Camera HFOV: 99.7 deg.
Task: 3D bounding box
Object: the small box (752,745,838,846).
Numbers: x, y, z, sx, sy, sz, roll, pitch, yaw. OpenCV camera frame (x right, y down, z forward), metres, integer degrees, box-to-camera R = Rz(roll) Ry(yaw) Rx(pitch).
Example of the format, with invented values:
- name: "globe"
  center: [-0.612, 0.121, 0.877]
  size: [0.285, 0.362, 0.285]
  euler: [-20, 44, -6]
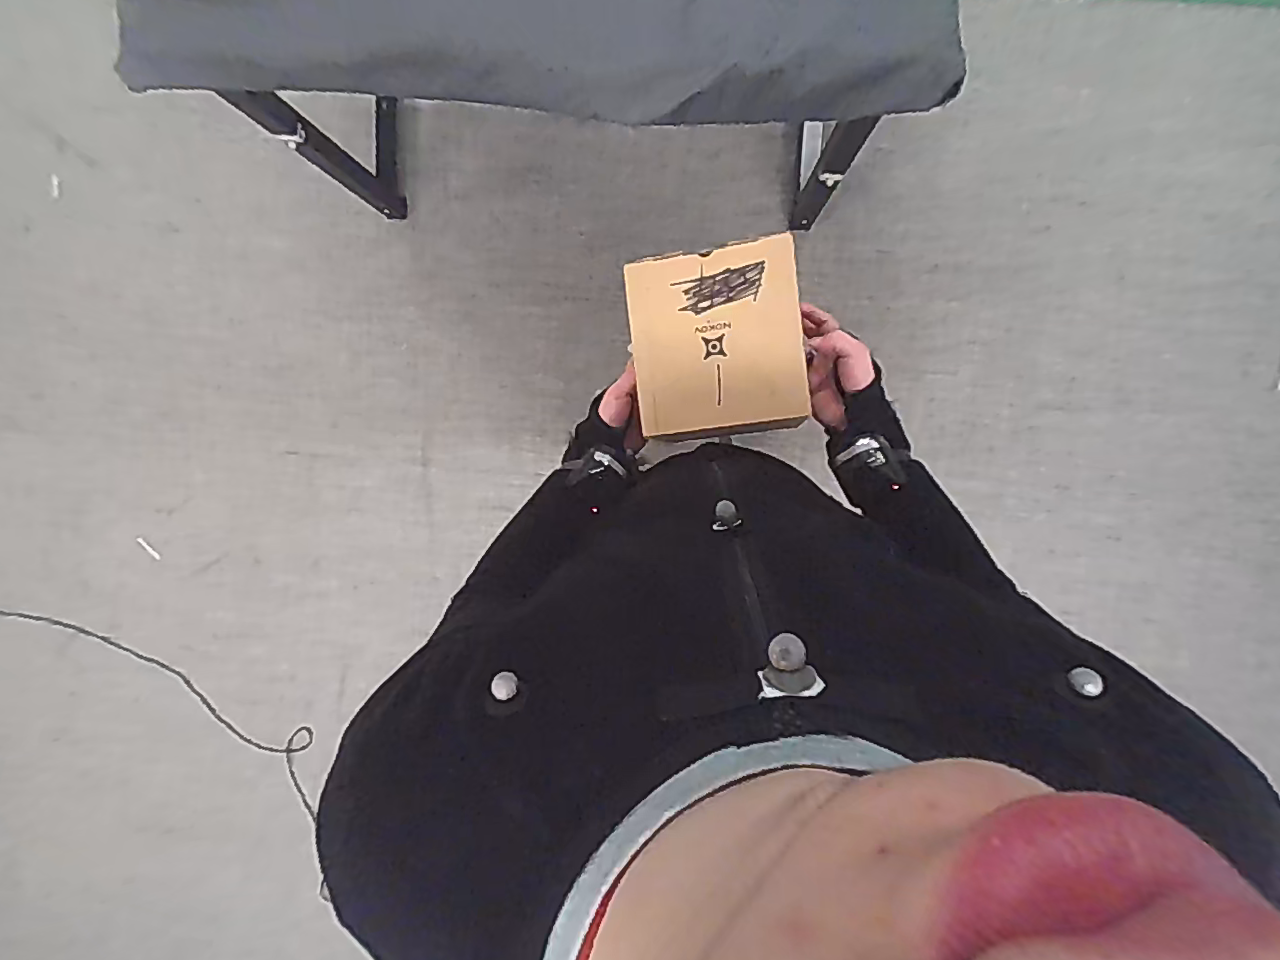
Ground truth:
- name: "small box"
  center: [0.439, 0.900, 1.559]
  size: [0.179, 0.176, 0.168]
  euler: [16, 94, 2]
